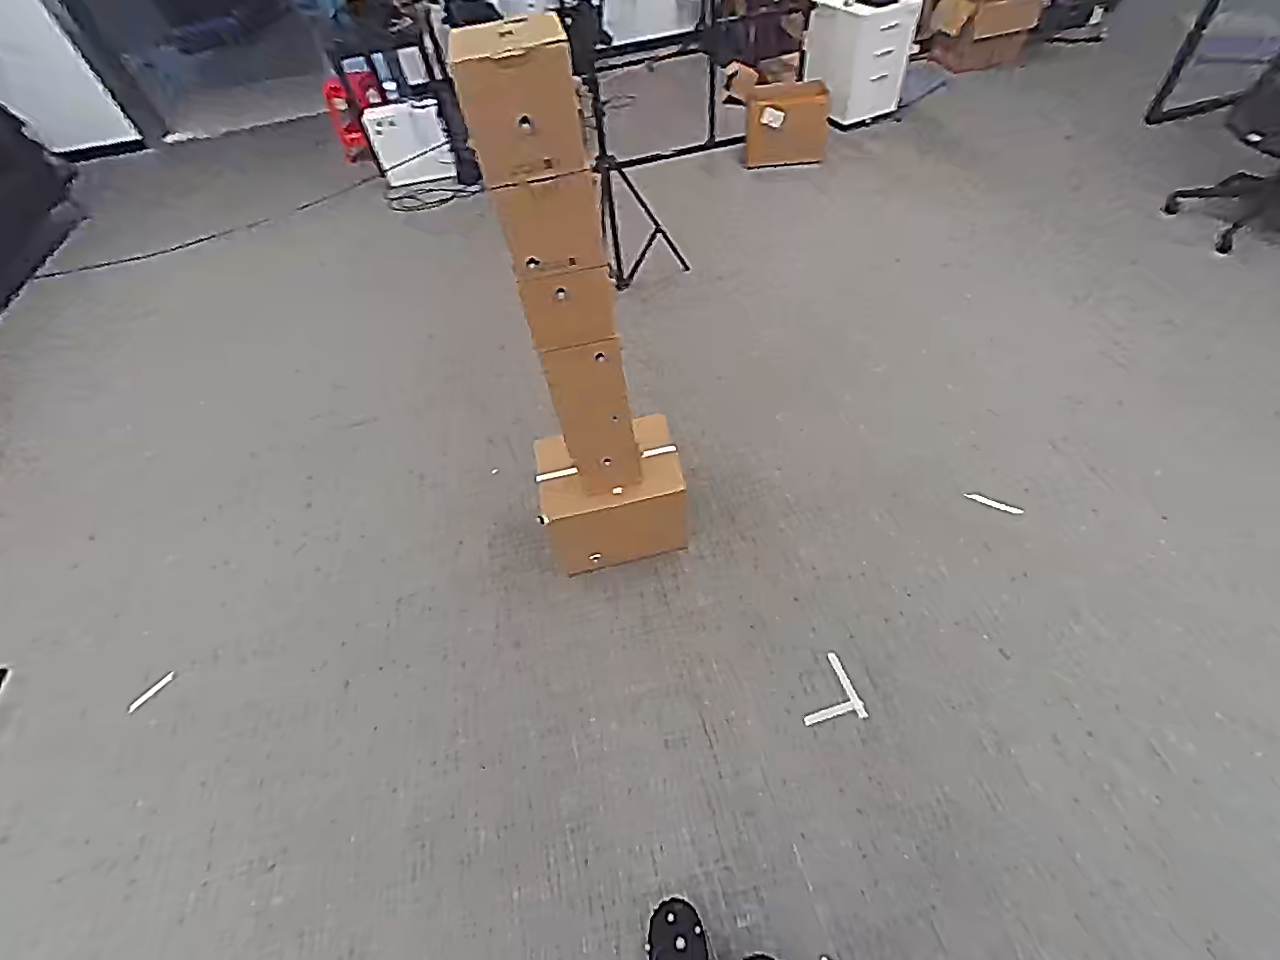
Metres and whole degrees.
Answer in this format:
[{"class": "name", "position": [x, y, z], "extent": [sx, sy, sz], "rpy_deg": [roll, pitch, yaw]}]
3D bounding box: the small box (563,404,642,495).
[{"class": "small box", "position": [-0.102, -0.079, 1.489], "extent": [0.179, 0.176, 0.168], "rpy_deg": [-14, 53, -5]}]

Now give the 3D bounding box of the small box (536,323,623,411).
[{"class": "small box", "position": [-0.137, -0.283, 1.234], "extent": [0.179, 0.176, 0.168], "rpy_deg": [-12, 51, -2]}]

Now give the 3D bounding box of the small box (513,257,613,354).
[{"class": "small box", "position": [-0.153, -0.383, 1.108], "extent": [0.179, 0.176, 0.168], "rpy_deg": [-12, 52, -2]}]

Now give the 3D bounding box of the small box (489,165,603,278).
[{"class": "small box", "position": [-0.167, -0.485, 0.980], "extent": [0.168, 0.176, 0.179], "rpy_deg": [-12, 51, -2]}]

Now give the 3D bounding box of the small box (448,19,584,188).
[{"class": "small box", "position": [-0.190, -0.583, 0.850], "extent": [0.168, 0.176, 0.179], "rpy_deg": [-13, 53, -3]}]
